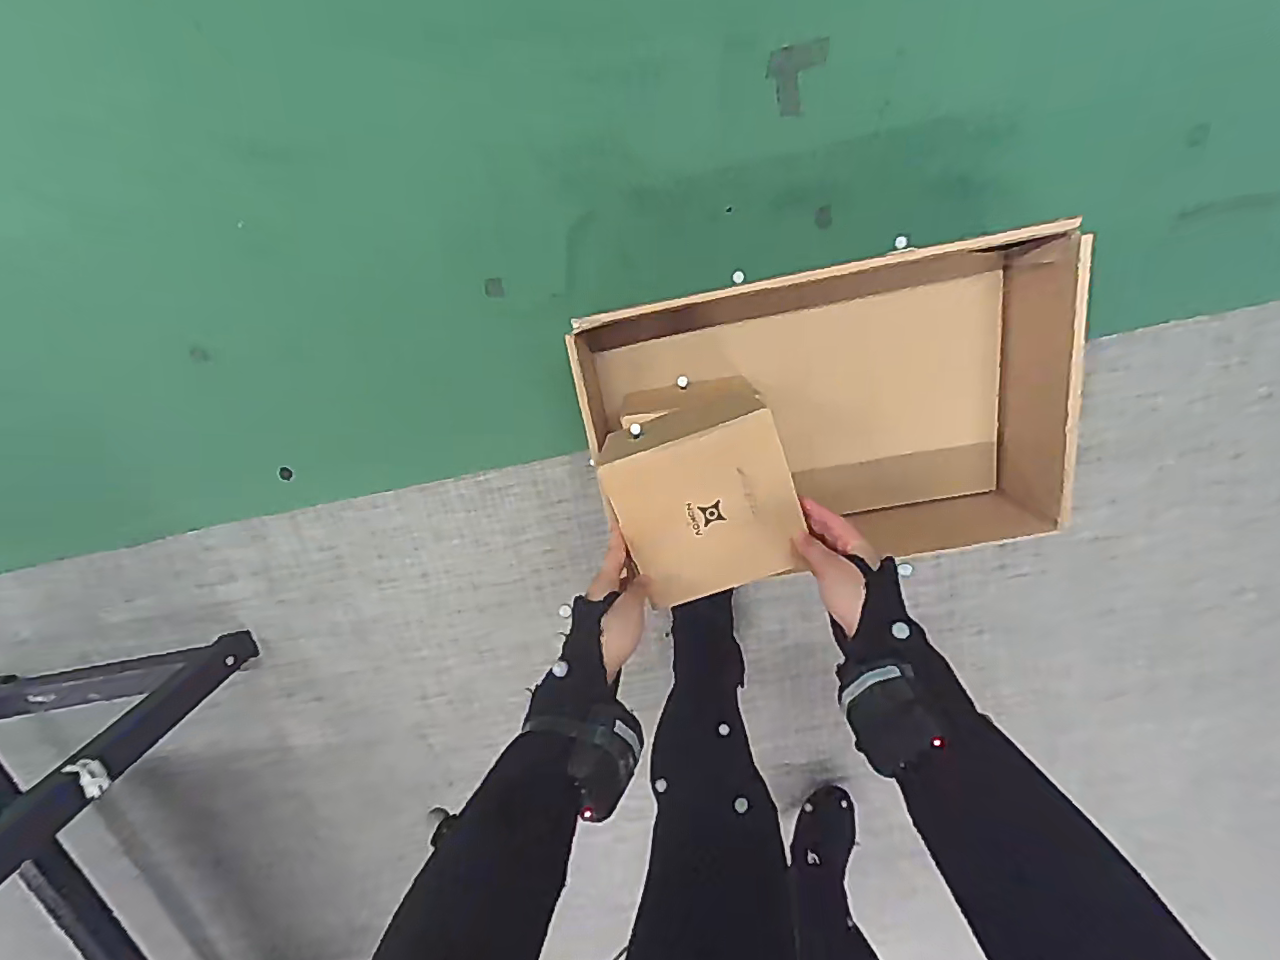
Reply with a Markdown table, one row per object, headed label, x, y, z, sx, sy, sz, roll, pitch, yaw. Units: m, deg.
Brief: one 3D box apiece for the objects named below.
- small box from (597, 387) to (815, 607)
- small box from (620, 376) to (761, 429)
| label | x | y | z | sx | sy | sz | roll | pitch | yaw |
| --- | --- | --- | --- | --- | --- | --- | --- | --- | --- |
| small box | 0.067 | 0.008 | 0.598 | 0.179 | 0.176 | 0.168 | -20 | 106 | 5 |
| small box | 0.074 | -0.044 | 0.758 | 0.179 | 0.176 | 0.168 | -8 | 109 | 4 |
